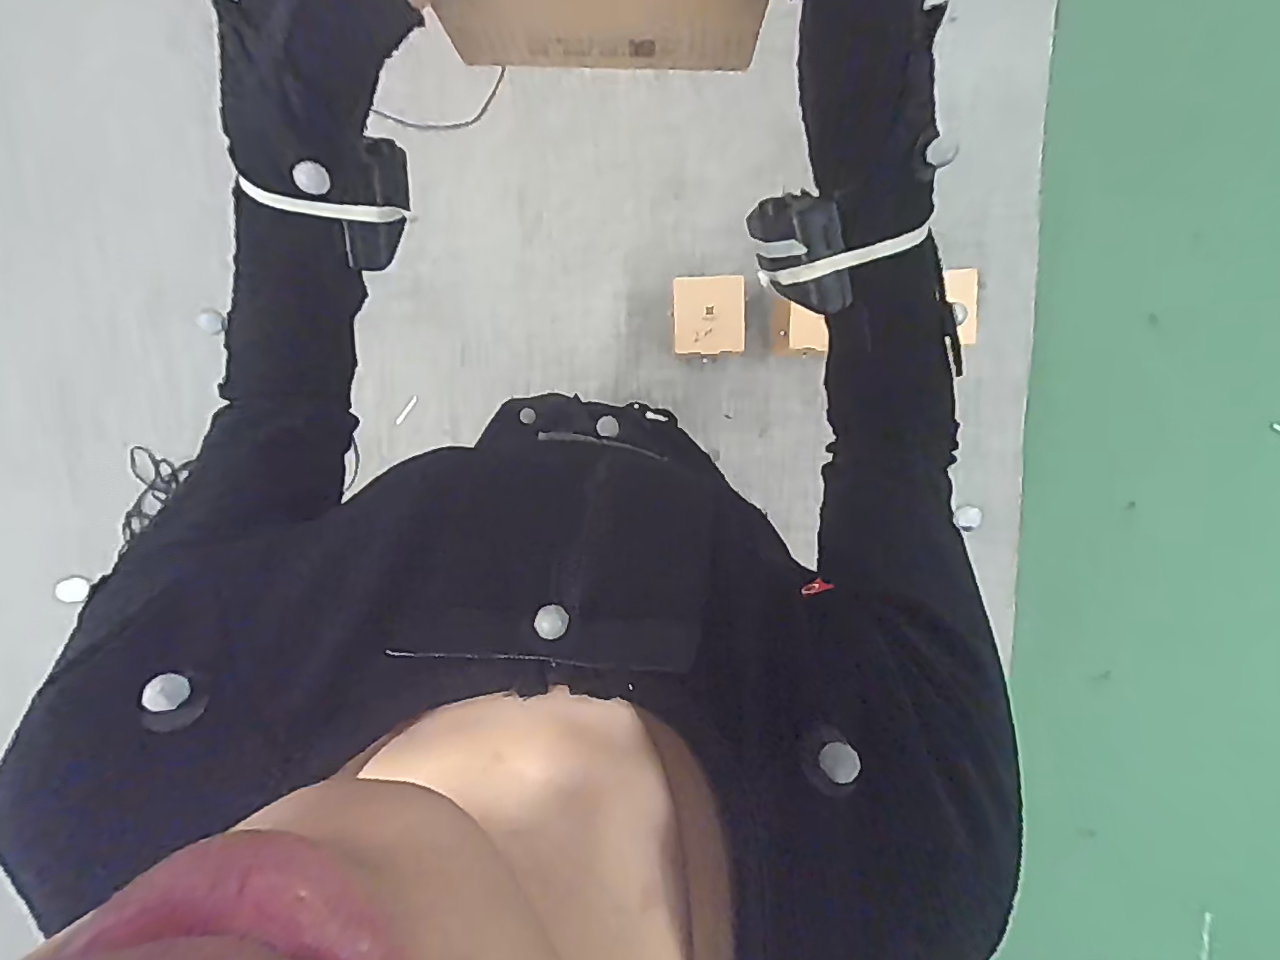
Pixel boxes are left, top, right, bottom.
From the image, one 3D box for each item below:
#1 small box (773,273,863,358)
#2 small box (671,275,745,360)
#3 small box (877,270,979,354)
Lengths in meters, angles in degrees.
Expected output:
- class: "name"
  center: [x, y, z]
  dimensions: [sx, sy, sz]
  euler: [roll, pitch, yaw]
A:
- class: "small box"
  center: [0.430, -0.399, 1.333]
  dimensions: [0.168, 0.176, 0.179]
  euler: [0, 98, 0]
- class: "small box"
  center: [0.163, -0.393, 1.331]
  dimensions: [0.168, 0.176, 0.179]
  euler: [-2, 98, 2]
- class: "small box"
  center: [0.699, -0.405, 1.331]
  dimensions: [0.168, 0.176, 0.179]
  euler: [-3, 97, 0]
